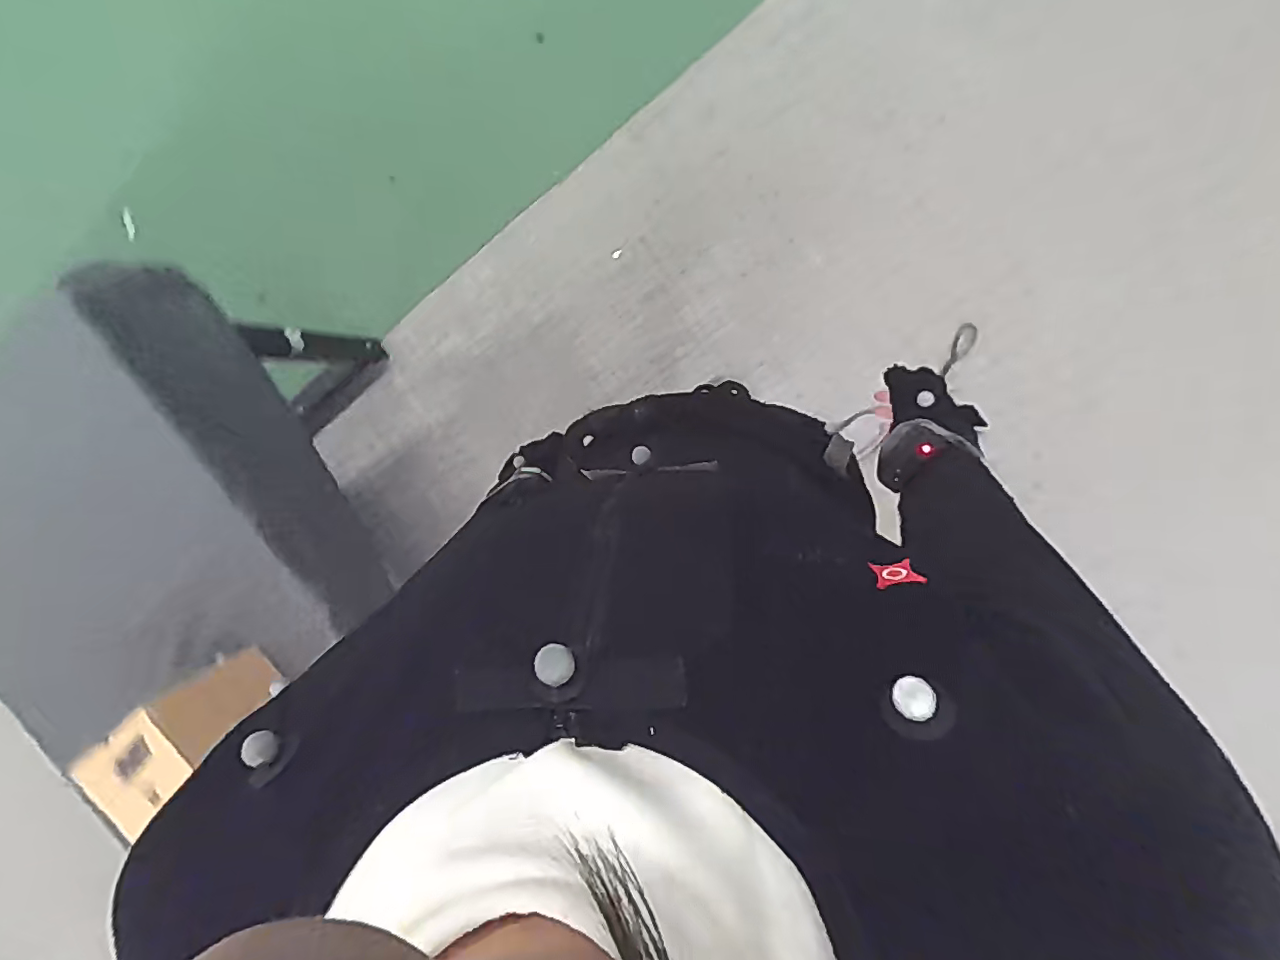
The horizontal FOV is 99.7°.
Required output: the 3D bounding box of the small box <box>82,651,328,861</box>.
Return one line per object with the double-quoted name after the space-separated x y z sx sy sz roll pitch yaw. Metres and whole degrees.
-0.596 0.368 0.761 0.168 0.176 0.179 -41 91 14 "small box"
